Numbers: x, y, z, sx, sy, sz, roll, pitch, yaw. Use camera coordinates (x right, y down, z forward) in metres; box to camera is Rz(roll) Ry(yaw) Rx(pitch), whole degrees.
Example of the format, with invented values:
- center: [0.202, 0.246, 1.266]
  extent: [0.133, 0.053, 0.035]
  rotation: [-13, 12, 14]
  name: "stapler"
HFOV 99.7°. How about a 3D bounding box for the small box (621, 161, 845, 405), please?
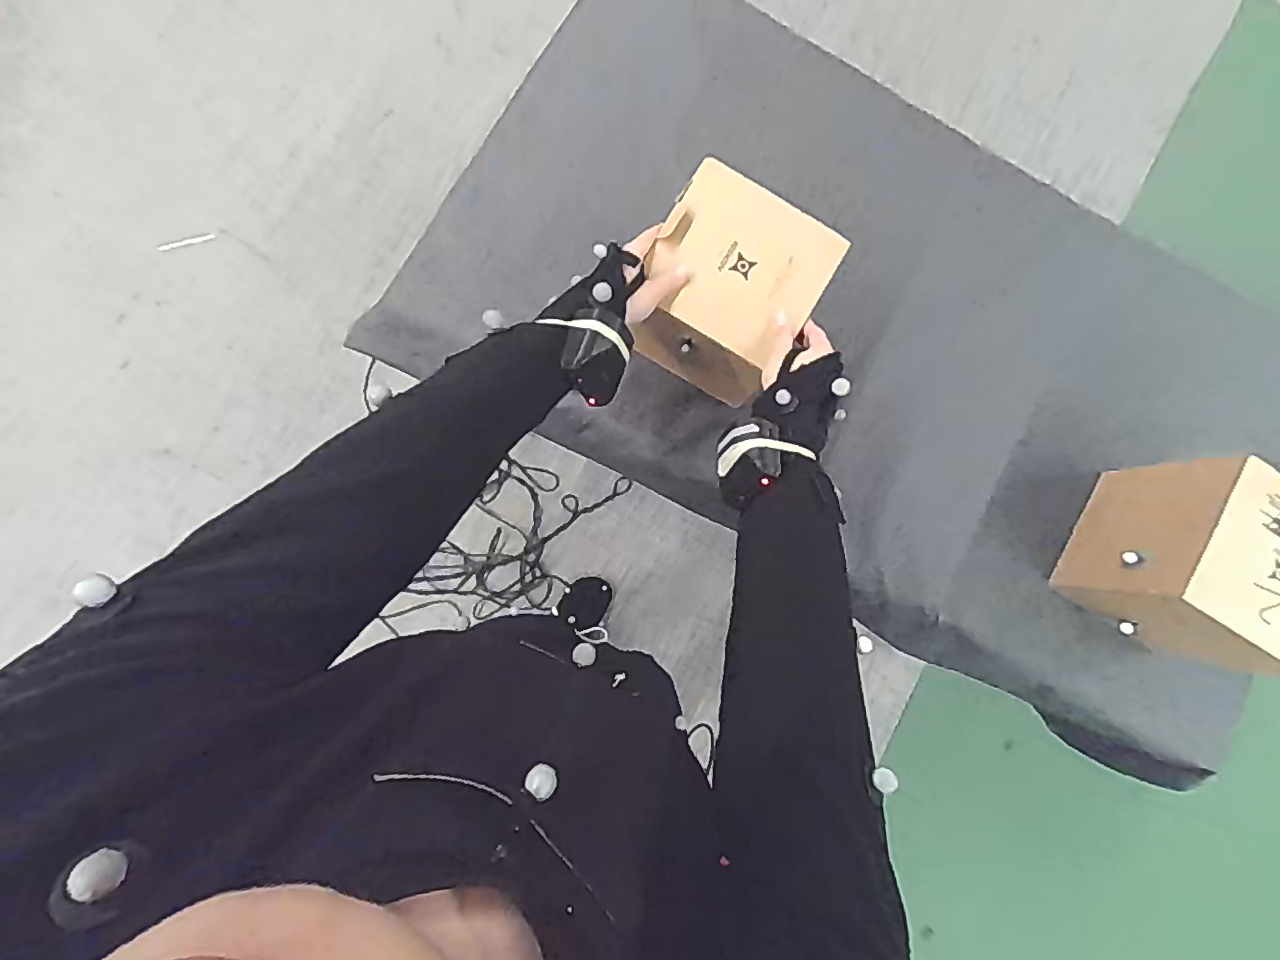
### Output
- center: [0.089, -0.205, 0.619]
  extent: [0.179, 0.176, 0.168]
  rotation: [31, 85, -2]
  name: "small box"
